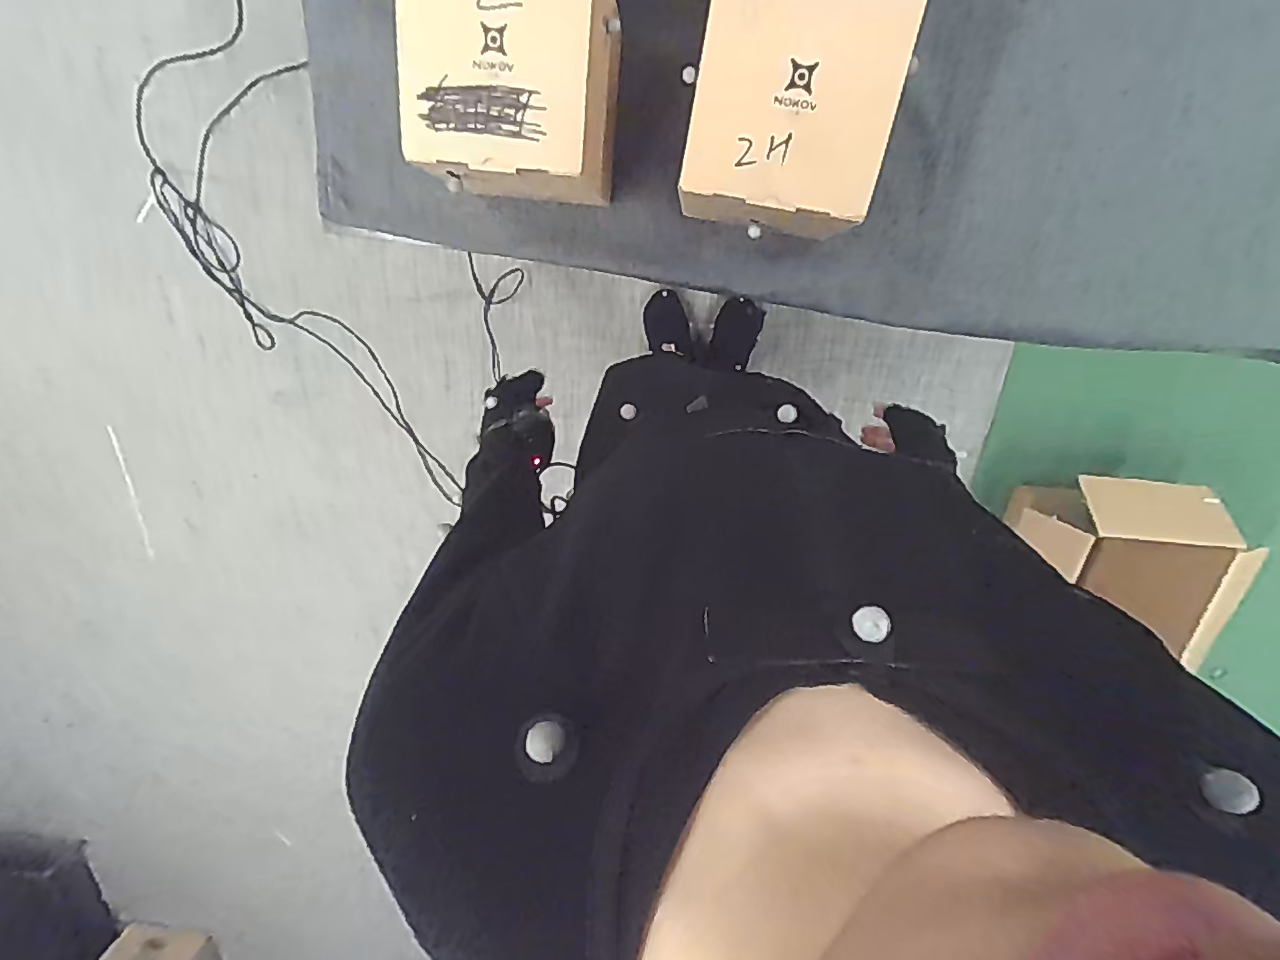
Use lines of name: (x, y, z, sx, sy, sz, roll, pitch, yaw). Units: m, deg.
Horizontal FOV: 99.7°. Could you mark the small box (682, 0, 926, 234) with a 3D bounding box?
small box: (0.136, -0.348, 0.516, 0.168, 0.176, 0.179, 11, 111, 2)
